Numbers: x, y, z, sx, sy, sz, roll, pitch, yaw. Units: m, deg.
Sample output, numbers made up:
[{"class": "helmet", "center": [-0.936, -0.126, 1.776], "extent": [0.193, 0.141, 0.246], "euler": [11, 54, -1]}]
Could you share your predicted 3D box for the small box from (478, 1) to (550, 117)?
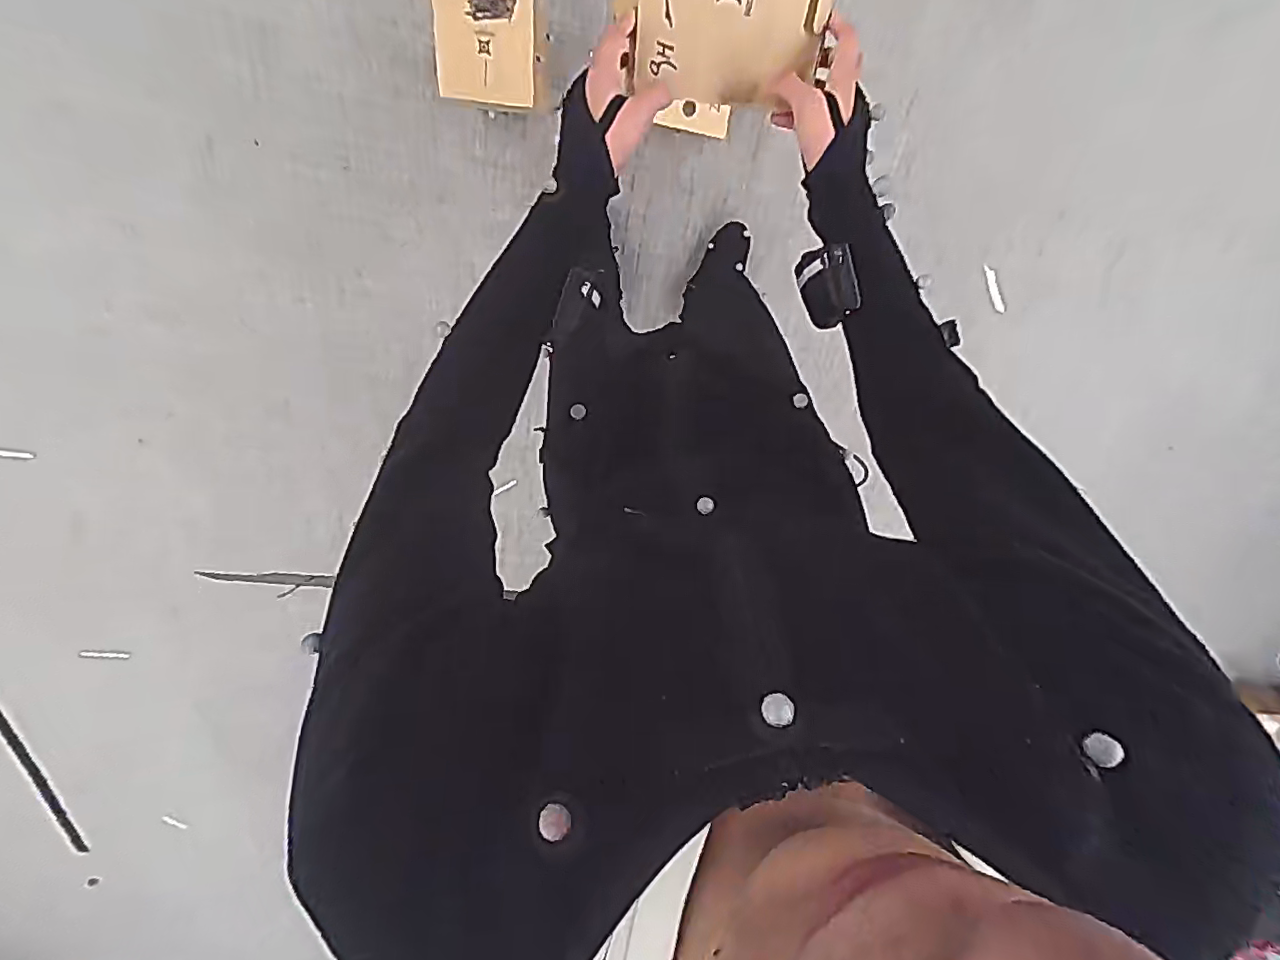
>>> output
[{"class": "small box", "center": [-0.275, -0.872, 1.122], "extent": [0.168, 0.176, 0.179], "euler": [2, 121, -7]}]

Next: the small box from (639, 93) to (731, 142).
[{"class": "small box", "center": [0.102, -0.850, 1.178], "extent": [0.179, 0.176, 0.168], "euler": [7, 120, -12]}]

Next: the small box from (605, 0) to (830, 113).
[{"class": "small box", "center": [0.068, -0.466, 0.518], "extent": [0.179, 0.176, 0.168], "euler": [-2, 127, -12]}]

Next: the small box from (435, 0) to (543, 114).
[{"class": "small box", "center": [-0.268, -0.786, 0.983], "extent": [0.168, 0.176, 0.179], "euler": [3, 121, -8]}]
